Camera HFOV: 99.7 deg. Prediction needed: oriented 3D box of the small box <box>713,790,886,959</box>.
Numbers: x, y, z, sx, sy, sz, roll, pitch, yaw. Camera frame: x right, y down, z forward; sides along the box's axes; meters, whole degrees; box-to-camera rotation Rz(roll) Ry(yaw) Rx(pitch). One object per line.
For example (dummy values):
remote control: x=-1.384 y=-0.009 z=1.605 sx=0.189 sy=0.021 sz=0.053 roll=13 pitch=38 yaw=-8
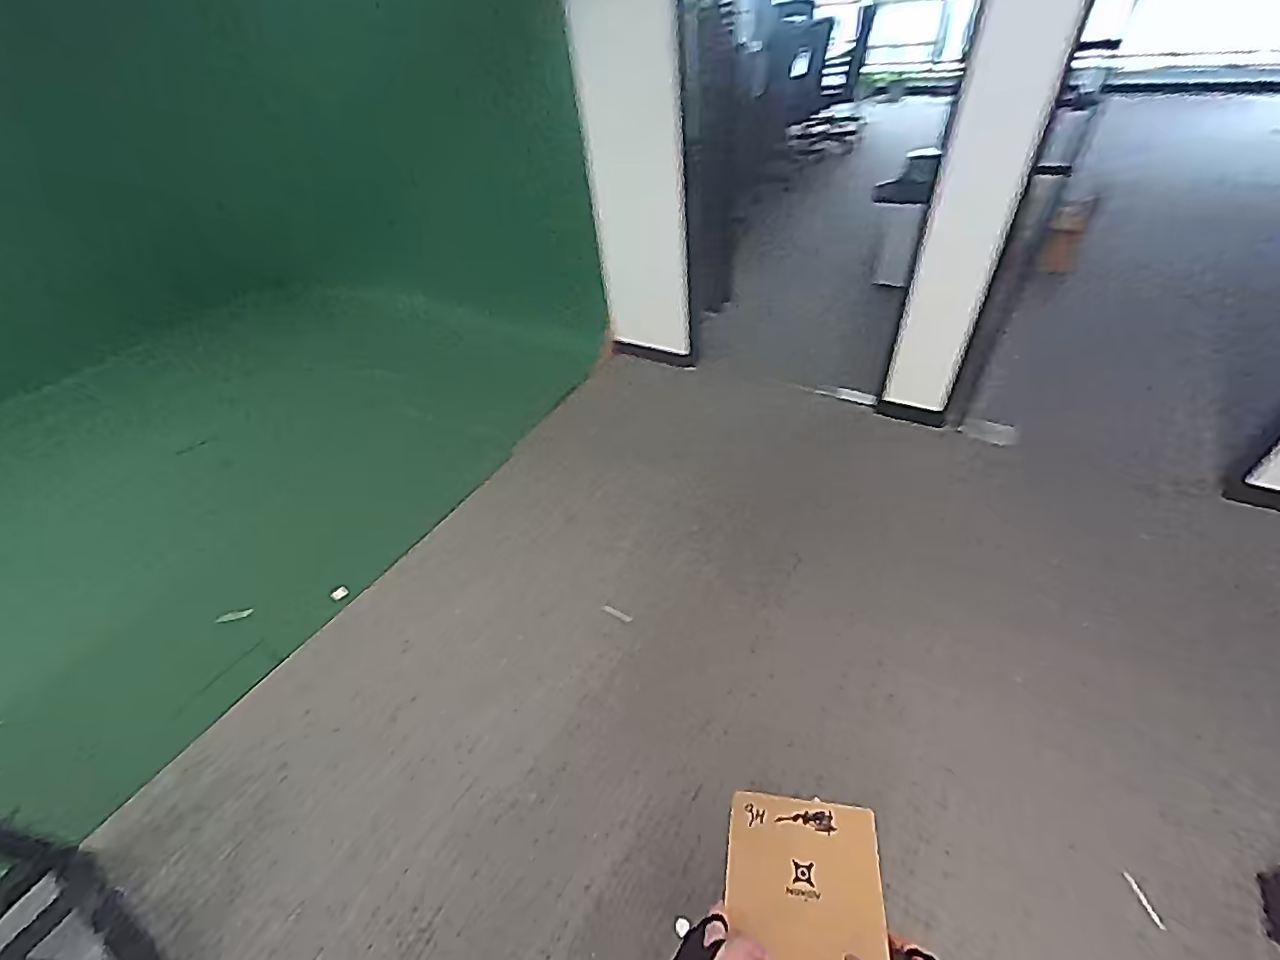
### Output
small box: x=0.184 y=0.493 z=0.618 sx=0.168 sy=0.176 sz=0.179 roll=-1 pitch=36 yaw=17
